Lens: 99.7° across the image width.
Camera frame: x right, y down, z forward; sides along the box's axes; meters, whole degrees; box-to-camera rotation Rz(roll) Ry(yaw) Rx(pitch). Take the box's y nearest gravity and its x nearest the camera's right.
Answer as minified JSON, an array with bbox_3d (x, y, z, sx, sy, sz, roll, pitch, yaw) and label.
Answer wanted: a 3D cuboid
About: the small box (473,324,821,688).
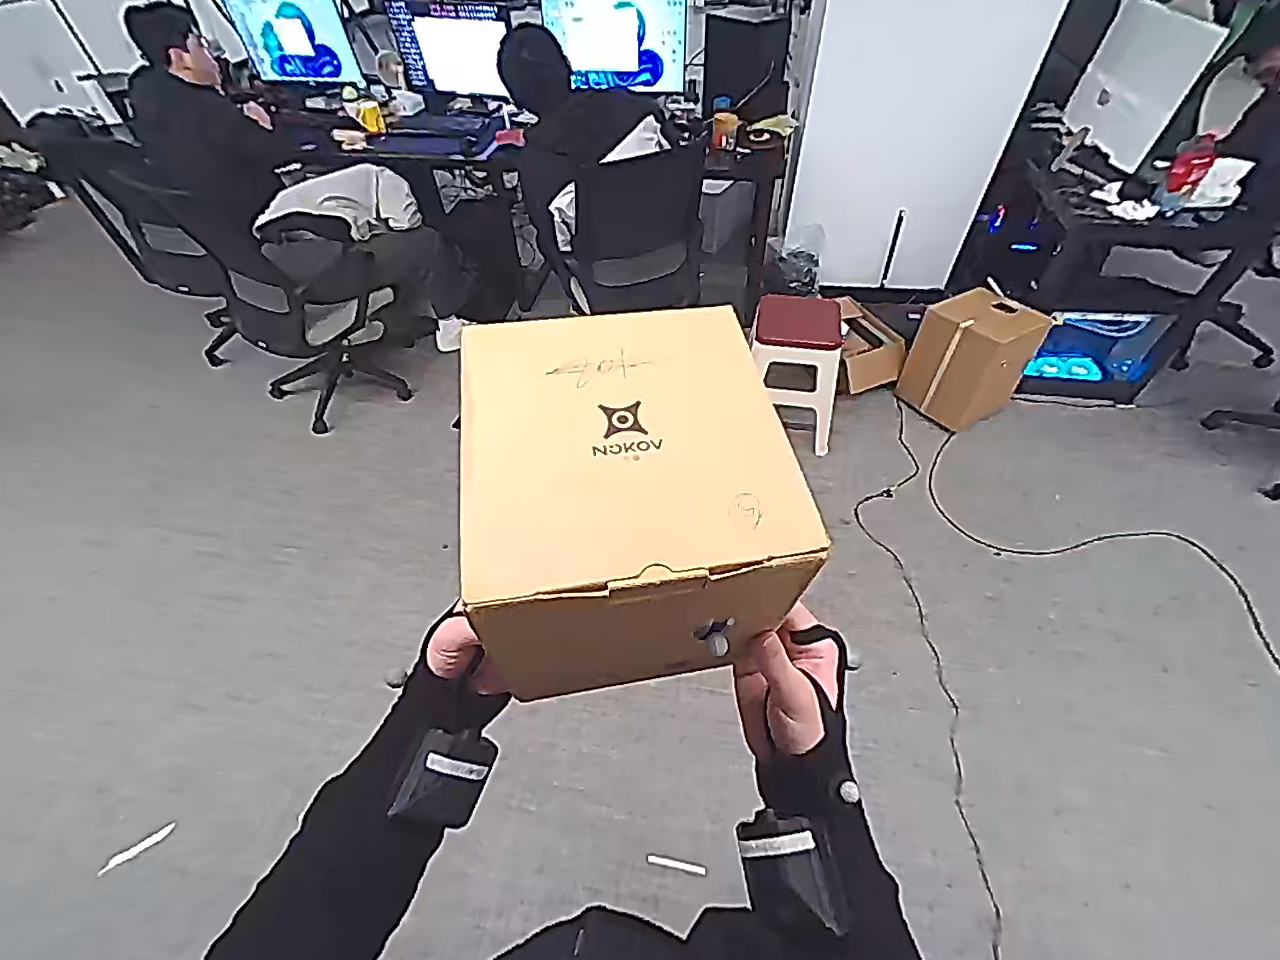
[{"bbox_3d":[-0.011,0.025,0.357,0.168,0.176,0.179,-7,55,-9],"label":"small box"}]
